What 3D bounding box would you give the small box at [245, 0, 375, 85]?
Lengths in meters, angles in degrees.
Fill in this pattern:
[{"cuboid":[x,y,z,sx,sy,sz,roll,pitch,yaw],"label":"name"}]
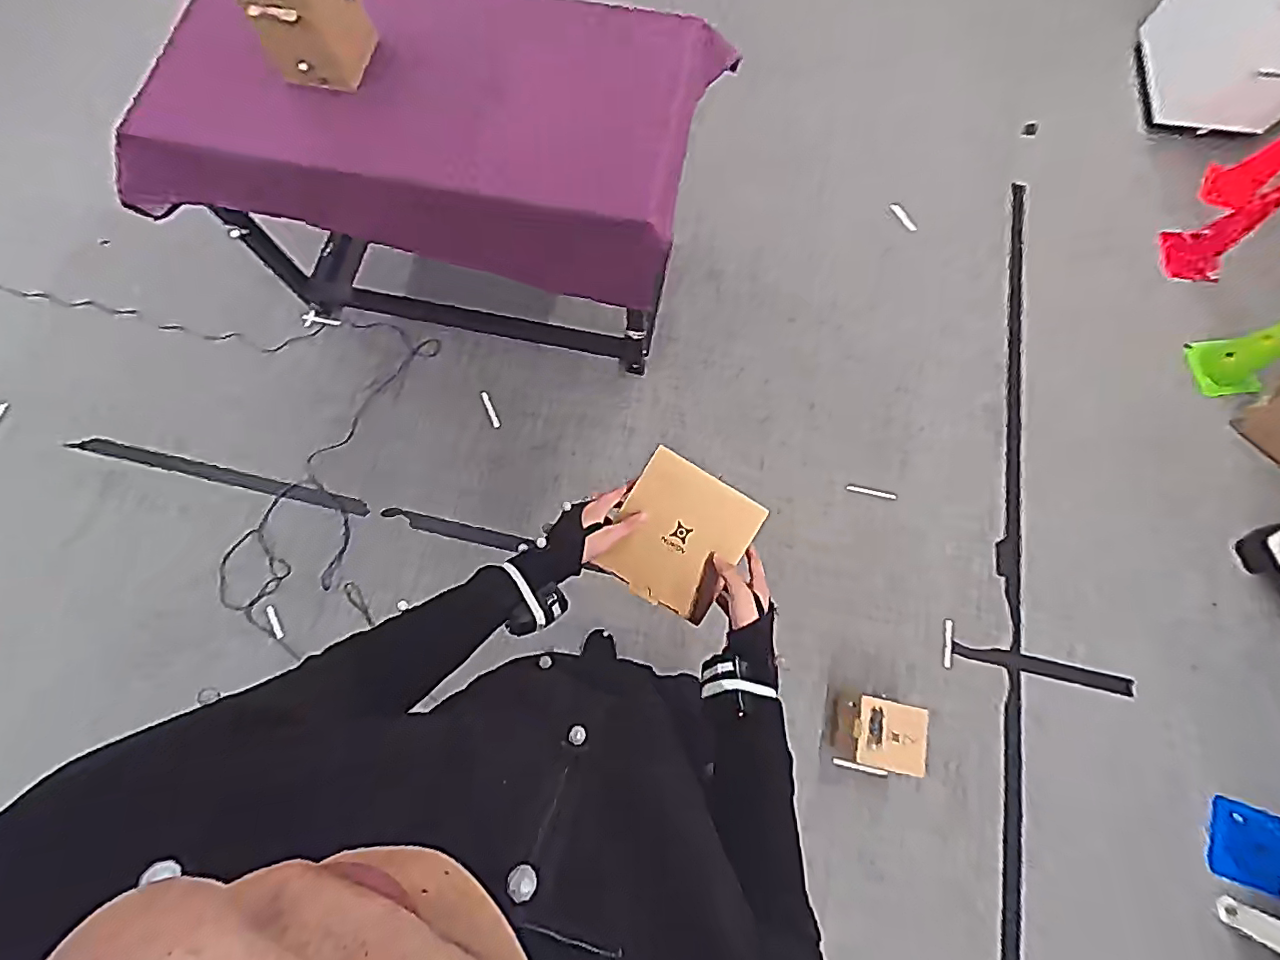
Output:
[{"cuboid":[-0.700,-1.002,1.158,0.168,0.176,0.179,11,75,3],"label":"small box"}]
